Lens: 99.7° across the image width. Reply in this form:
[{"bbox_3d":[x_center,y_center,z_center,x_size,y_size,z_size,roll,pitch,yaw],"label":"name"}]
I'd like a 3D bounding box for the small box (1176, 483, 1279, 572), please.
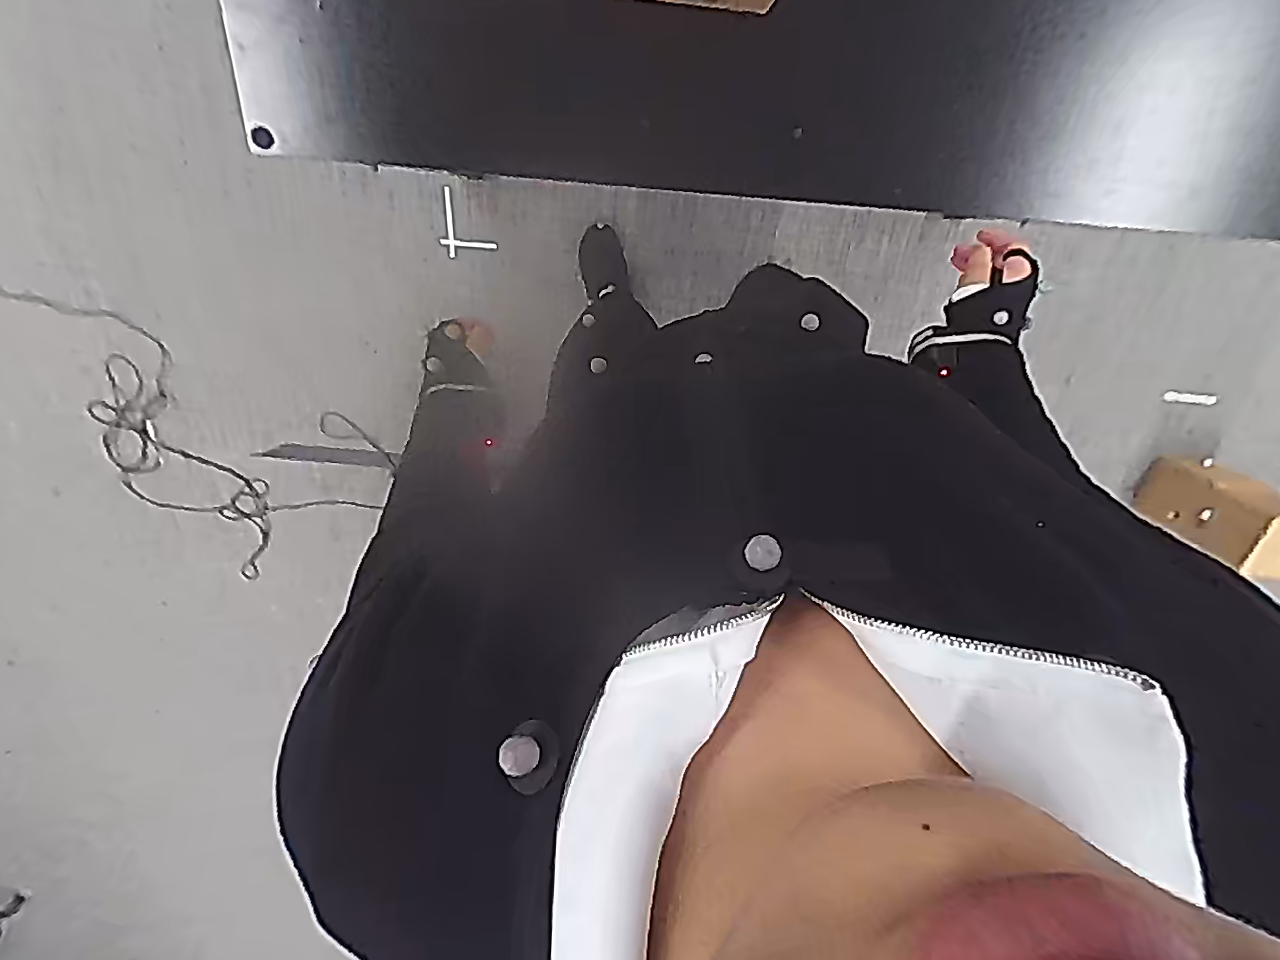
[{"bbox_3d":[1.560,0.118,1.382,0.179,0.176,0.168,5,115,-1],"label":"small box"}]

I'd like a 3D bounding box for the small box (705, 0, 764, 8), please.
[{"bbox_3d":[0.054,-0.522,0.438,0.168,0.176,0.179,4,117,-3],"label":"small box"}]

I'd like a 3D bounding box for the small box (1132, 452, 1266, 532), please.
[{"bbox_3d":[1.556,0.039,1.524,0.168,0.176,0.179,6,116,-3],"label":"small box"}]
